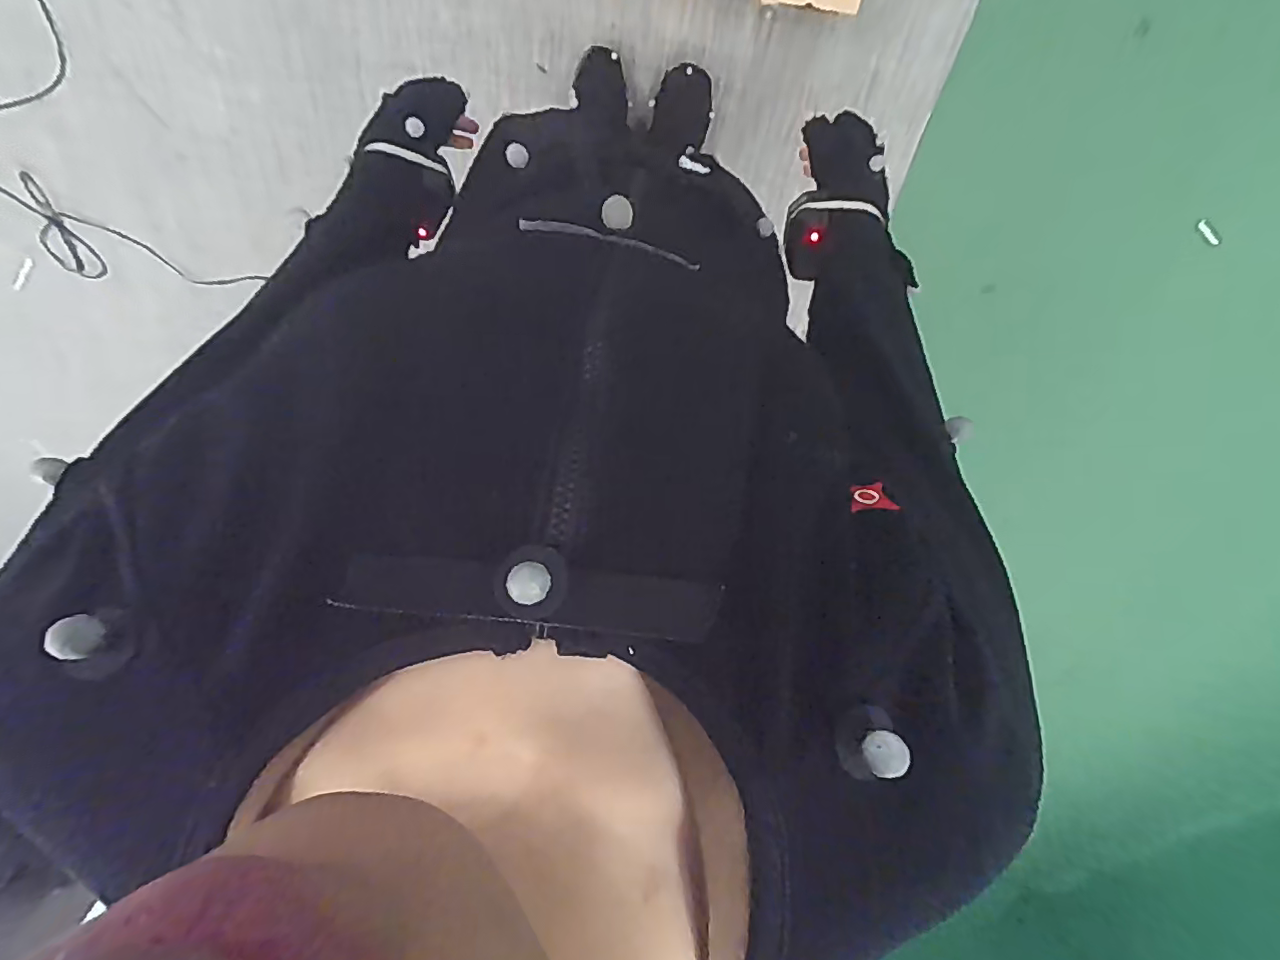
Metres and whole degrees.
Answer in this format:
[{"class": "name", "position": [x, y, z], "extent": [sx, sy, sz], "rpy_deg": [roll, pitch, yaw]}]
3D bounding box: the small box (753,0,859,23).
[{"class": "small box", "position": [0.290, -0.888, 0.902], "extent": [0.168, 0.176, 0.179], "rpy_deg": [8, 129, -1]}]
